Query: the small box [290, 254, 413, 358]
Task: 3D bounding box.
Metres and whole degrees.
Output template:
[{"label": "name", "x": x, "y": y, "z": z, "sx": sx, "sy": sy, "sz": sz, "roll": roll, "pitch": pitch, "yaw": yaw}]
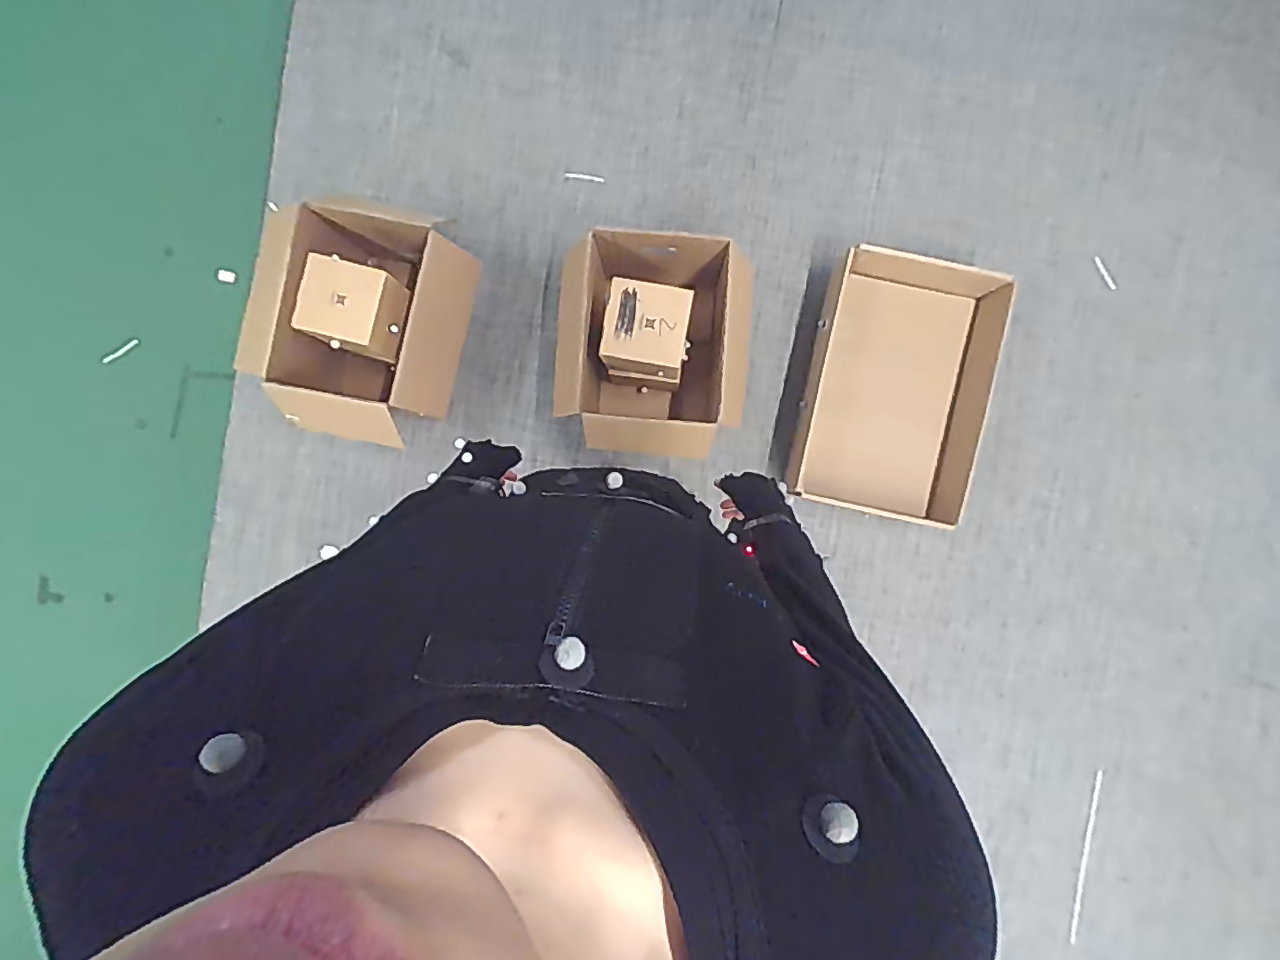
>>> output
[{"label": "small box", "x": -0.645, "y": -0.386, "z": 1.232, "sx": 0.179, "sy": 0.176, "sz": 0.168, "roll": 14, "pitch": 90, "yaw": 0}]
